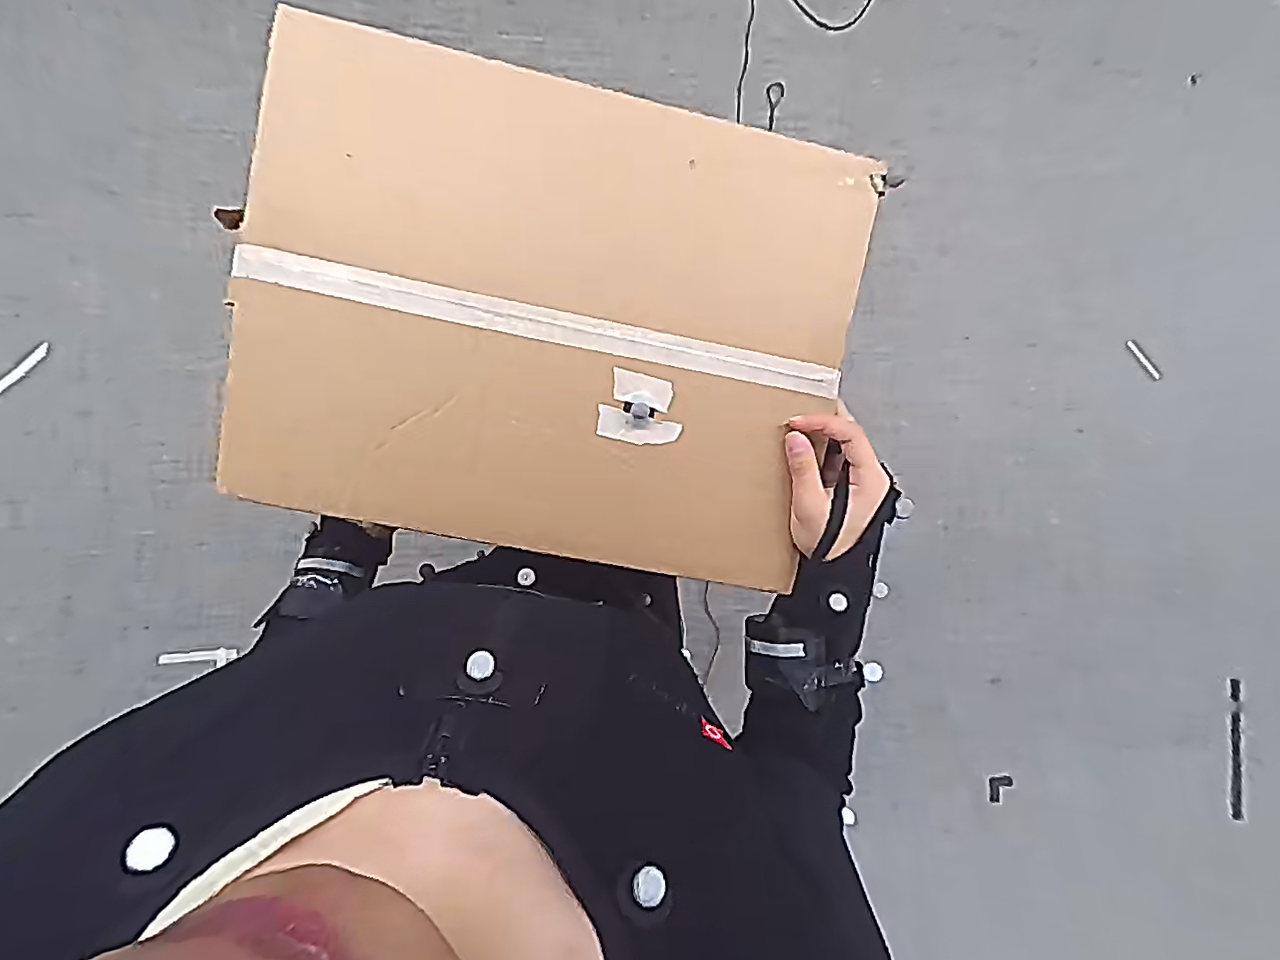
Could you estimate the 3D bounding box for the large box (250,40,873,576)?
[{"bbox_3d":[-0.065,-0.119,0.527,0.408,0.320,0.320,10,95,-6],"label":"large box"}]
